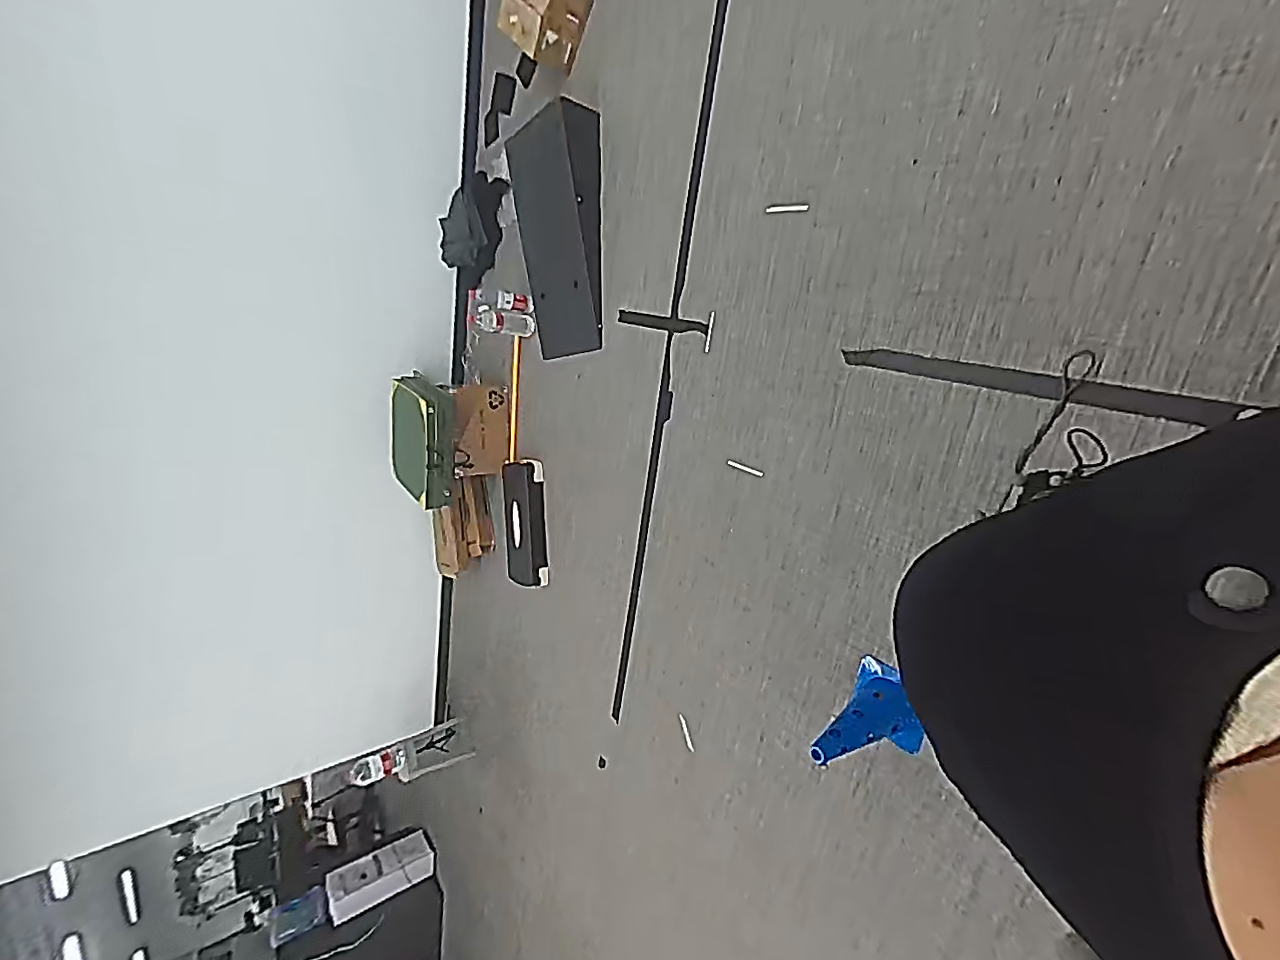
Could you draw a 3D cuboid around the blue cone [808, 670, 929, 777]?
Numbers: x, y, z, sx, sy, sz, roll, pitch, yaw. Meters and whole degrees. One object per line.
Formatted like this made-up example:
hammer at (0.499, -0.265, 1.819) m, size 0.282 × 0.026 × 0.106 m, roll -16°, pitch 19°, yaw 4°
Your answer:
blue cone at (0.542, 0.637, 1.351) m, size 0.193 × 0.380 × 0.192 m, roll 27°, pitch 116°, yaw 46°
